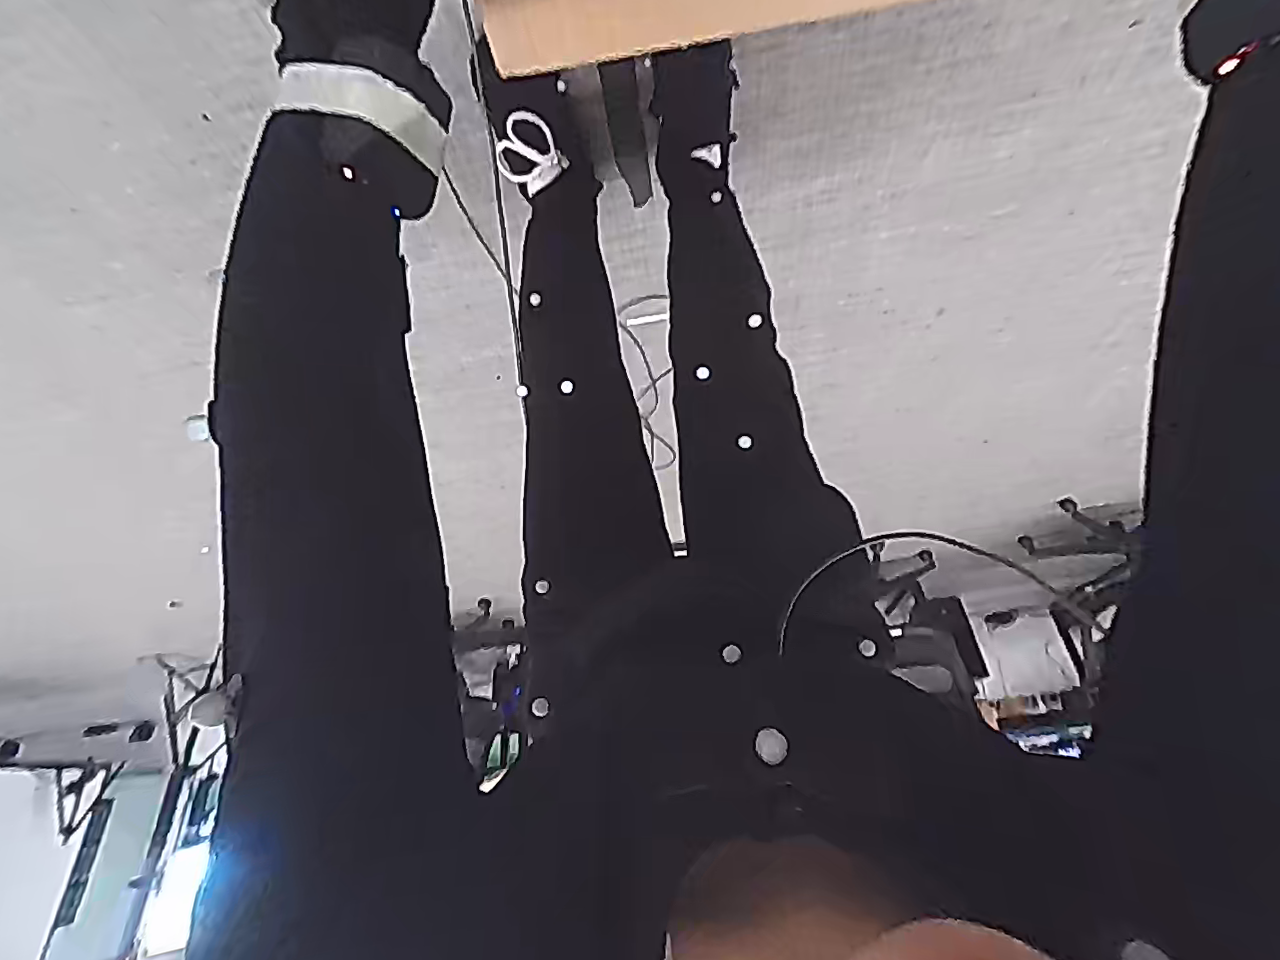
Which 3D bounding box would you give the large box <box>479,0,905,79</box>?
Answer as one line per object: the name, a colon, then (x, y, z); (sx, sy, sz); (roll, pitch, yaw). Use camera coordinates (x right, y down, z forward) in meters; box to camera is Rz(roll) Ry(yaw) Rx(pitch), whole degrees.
large box: (0.076, -0.500, 0.292); (0.408, 0.320, 0.320); (-6, 148, 6)
